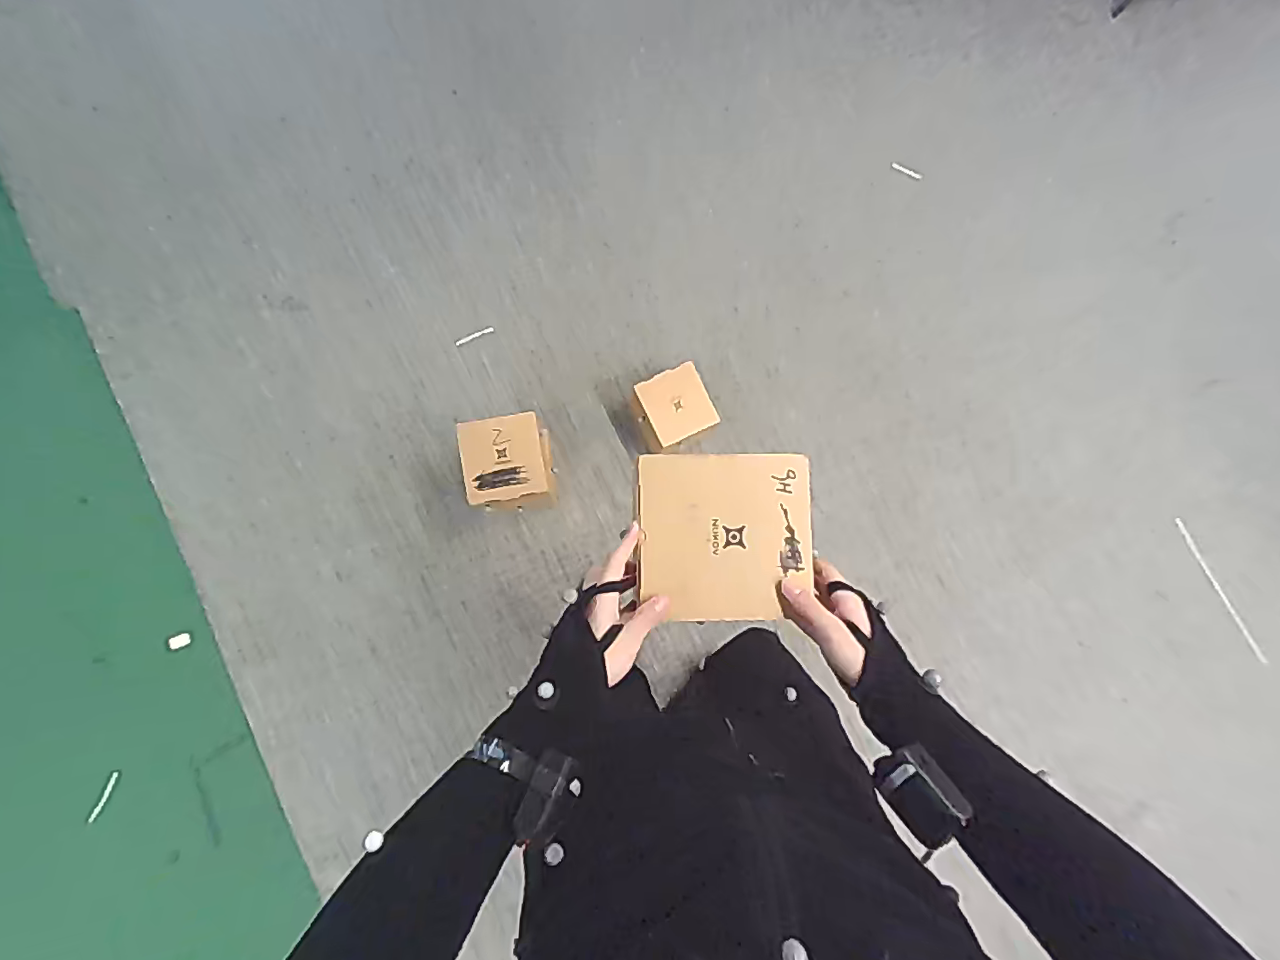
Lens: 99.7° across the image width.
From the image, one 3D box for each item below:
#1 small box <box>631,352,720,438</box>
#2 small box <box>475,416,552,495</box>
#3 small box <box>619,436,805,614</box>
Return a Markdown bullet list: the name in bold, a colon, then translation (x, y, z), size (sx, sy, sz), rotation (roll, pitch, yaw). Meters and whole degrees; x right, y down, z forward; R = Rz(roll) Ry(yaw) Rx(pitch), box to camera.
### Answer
- **small box**: translation (0.085, -0.200, 1.399), size (0.168, 0.176, 0.179), rotation (-24, 86, -7)
- **small box**: translation (-0.308, -0.054, 1.342), size (0.168, 0.176, 0.179), rotation (-3, 83, -7)
- **small box**: translation (0.069, 0.050, 0.597), size (0.179, 0.176, 0.168), rotation (2, 85, -1)
